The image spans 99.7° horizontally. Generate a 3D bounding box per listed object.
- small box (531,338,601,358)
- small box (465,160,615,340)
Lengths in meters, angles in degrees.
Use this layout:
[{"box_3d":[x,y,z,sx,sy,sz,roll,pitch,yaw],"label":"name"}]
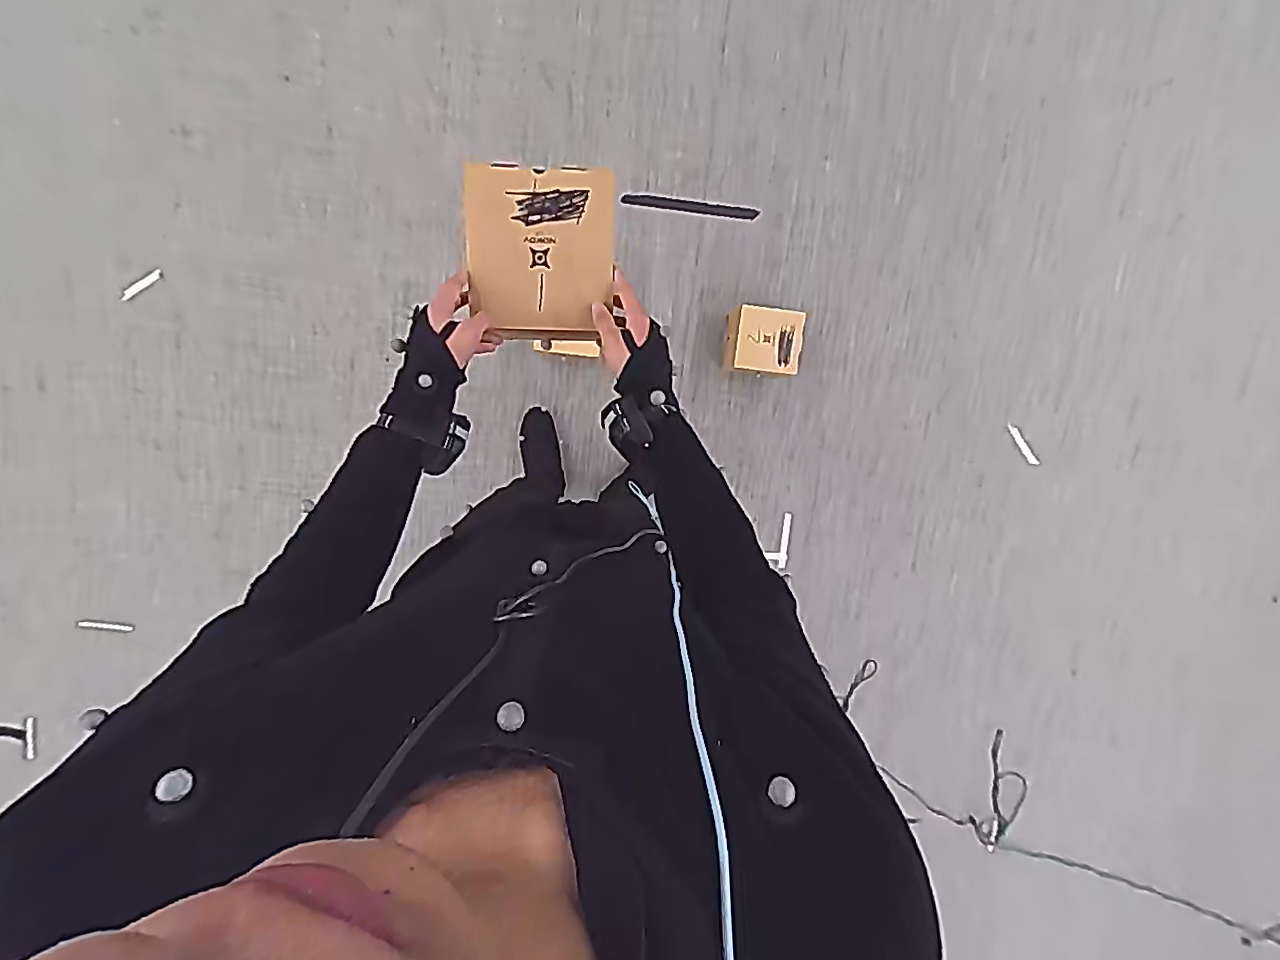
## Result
[{"box_3d":[-0.193,-0.429,1.485,0.179,0.176,0.168,6,98,-2],"label":"small box"},{"box_3d":[-0.118,-0.275,0.683,0.168,0.176,0.179,0,101,-4],"label":"small box"}]
